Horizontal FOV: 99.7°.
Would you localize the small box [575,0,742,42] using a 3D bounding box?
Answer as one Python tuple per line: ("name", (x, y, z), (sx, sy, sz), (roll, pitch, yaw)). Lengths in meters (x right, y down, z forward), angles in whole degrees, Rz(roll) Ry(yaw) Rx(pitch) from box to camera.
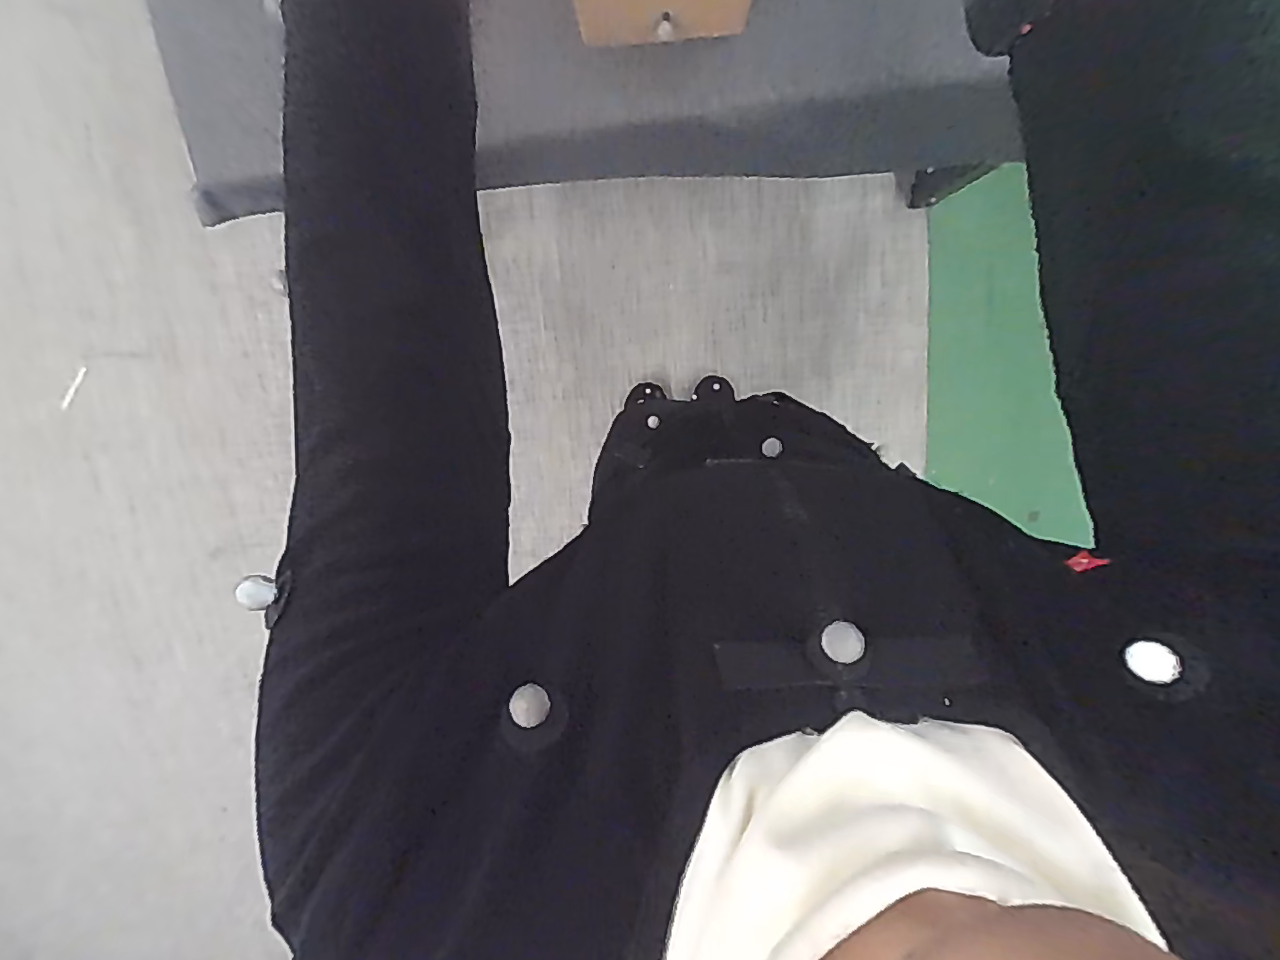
("small box", (0.018, -0.549, 0.501), (0.179, 0.176, 0.168), (-3, 102, 2))
